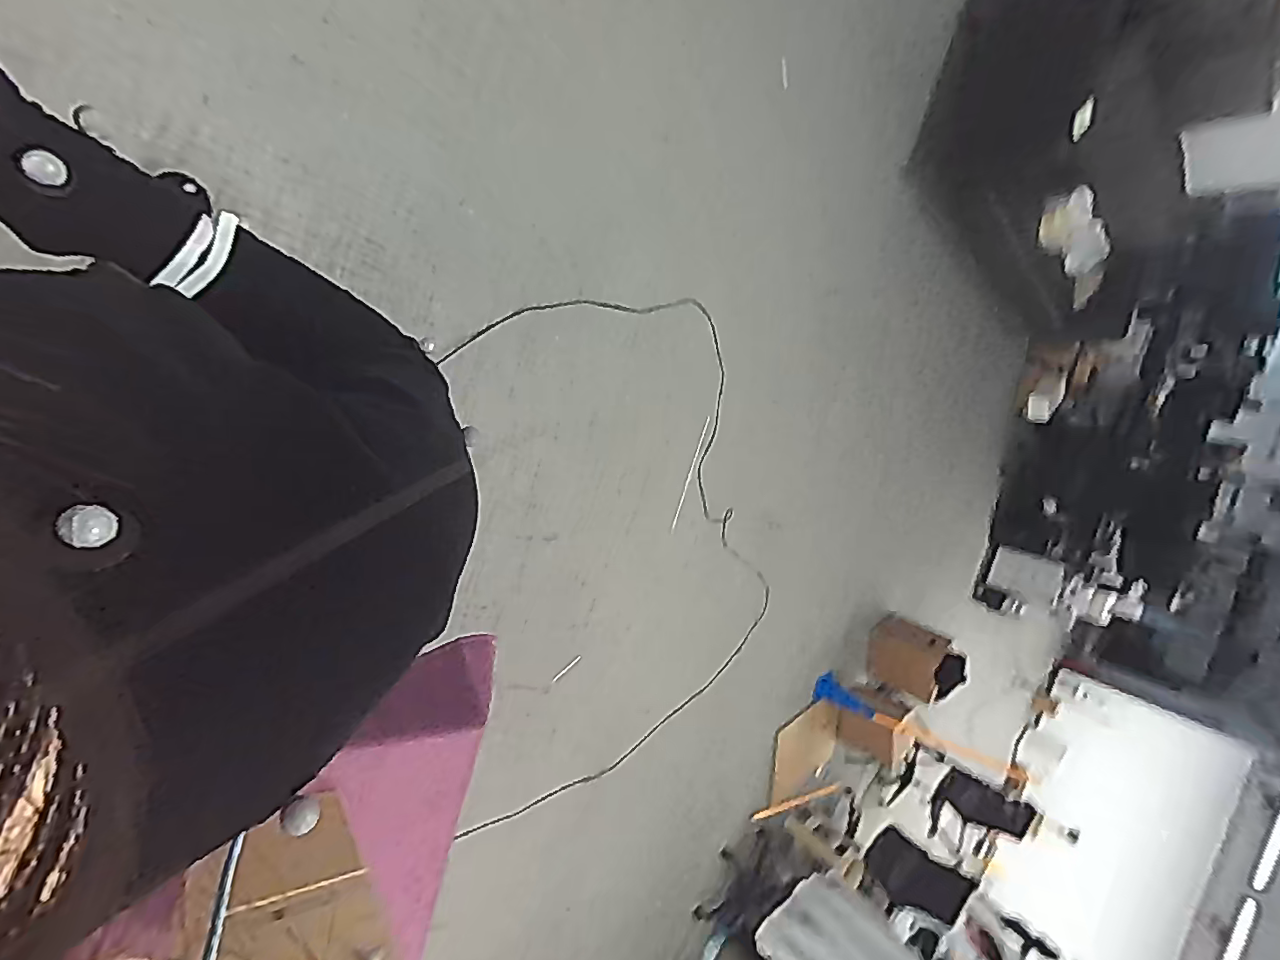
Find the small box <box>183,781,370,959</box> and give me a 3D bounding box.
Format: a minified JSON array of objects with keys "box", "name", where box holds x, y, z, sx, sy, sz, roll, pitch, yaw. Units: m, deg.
[{"box":[-0.491,0.549,0.725,0.168,0.176,0.179,13,95,-44],"name":"small box"}]
